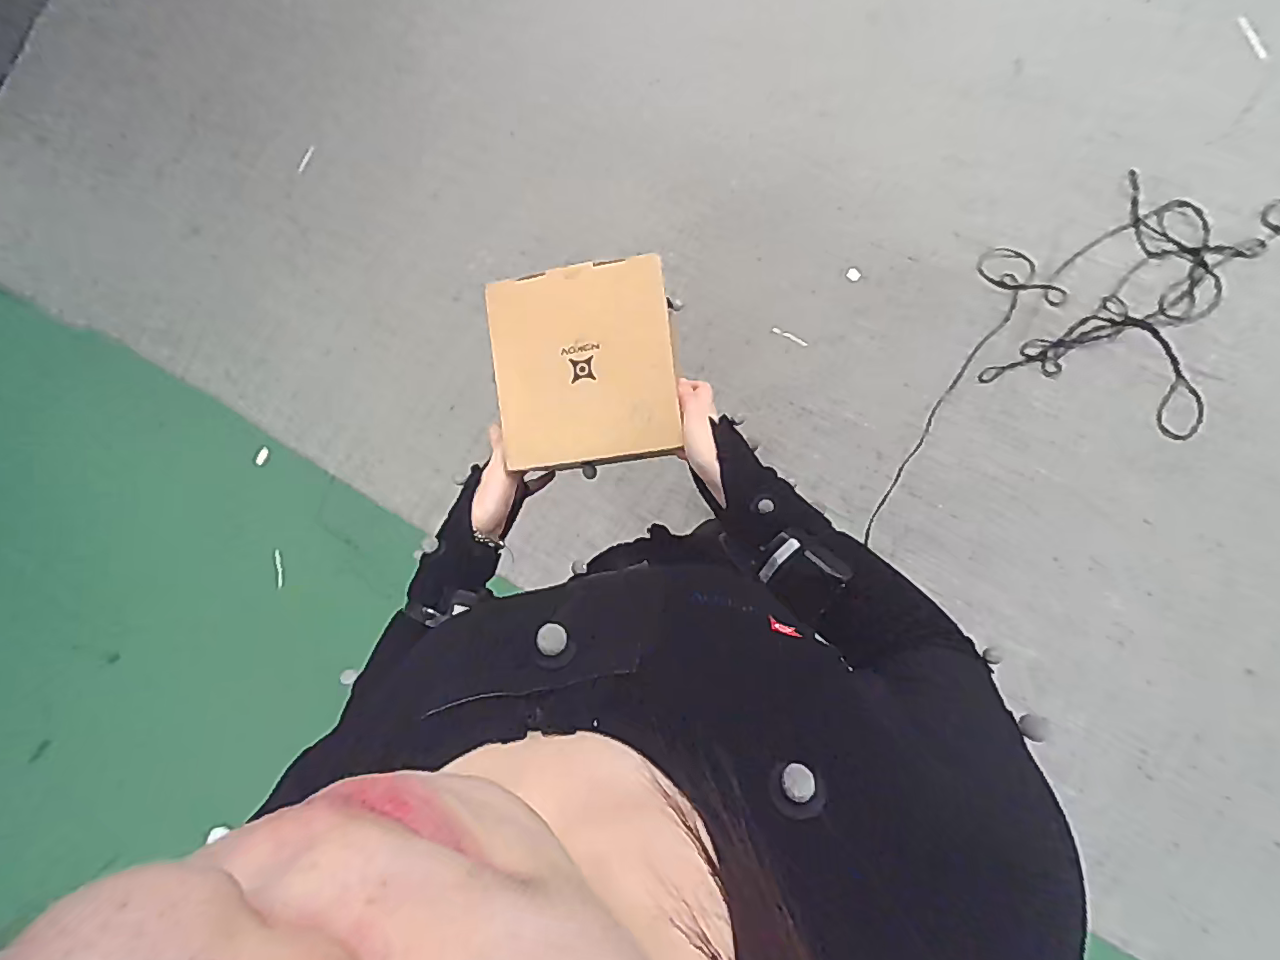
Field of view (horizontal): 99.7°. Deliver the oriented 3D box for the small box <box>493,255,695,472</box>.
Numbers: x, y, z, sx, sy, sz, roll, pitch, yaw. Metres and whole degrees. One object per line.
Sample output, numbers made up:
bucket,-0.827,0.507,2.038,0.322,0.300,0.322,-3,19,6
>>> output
small box,-0.034,-0.105,0.563,0.168,0.176,0.179,-7,90,7
